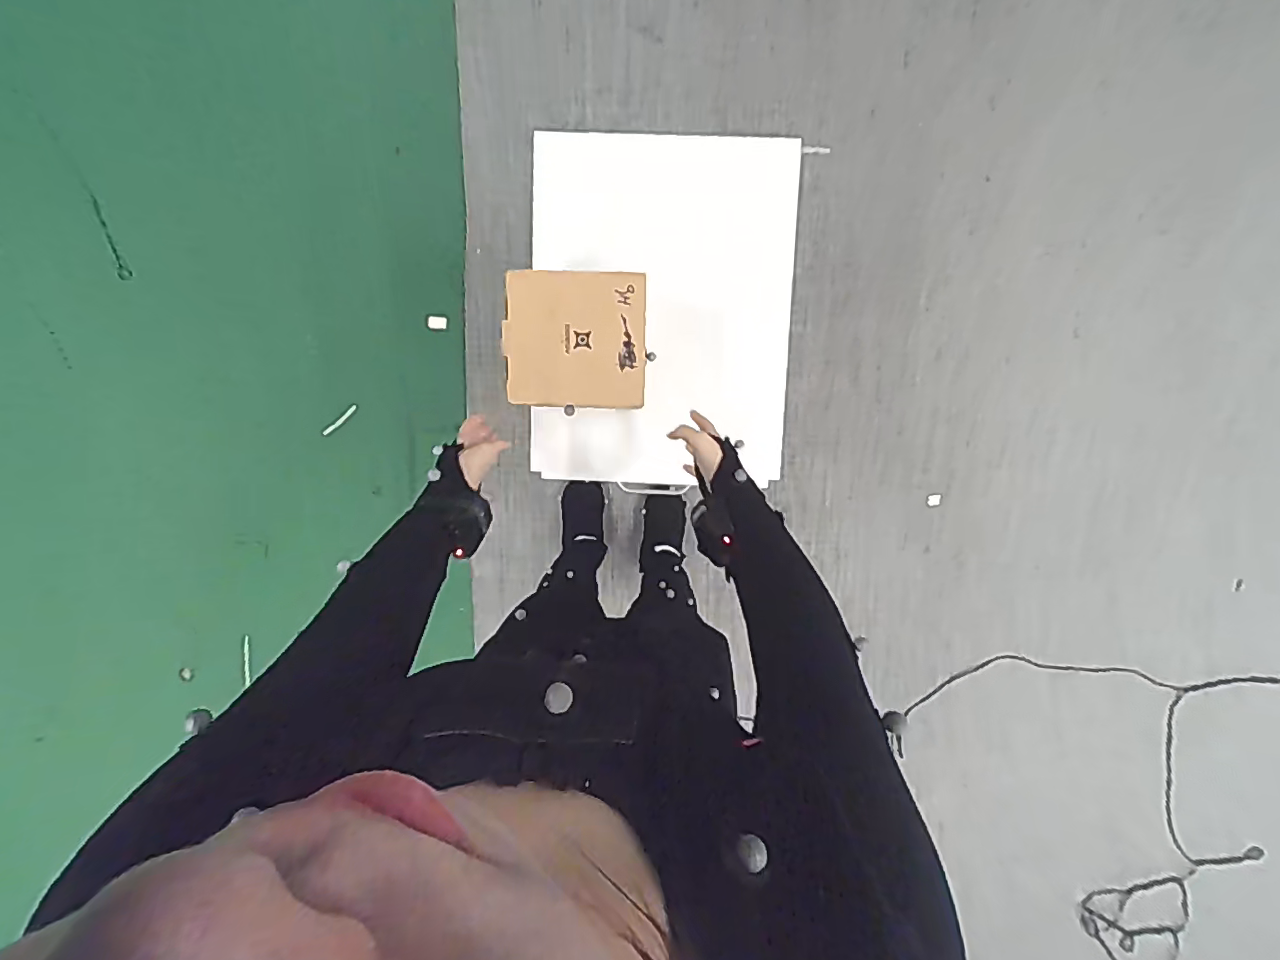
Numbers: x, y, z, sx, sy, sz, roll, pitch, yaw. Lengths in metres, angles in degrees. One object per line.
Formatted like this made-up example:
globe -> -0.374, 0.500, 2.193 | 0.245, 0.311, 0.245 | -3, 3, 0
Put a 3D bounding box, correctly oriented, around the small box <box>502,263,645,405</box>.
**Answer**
small box -> -0.084, -0.192, 0.750 | 0.179, 0.176, 0.168 | 1, 97, -1
